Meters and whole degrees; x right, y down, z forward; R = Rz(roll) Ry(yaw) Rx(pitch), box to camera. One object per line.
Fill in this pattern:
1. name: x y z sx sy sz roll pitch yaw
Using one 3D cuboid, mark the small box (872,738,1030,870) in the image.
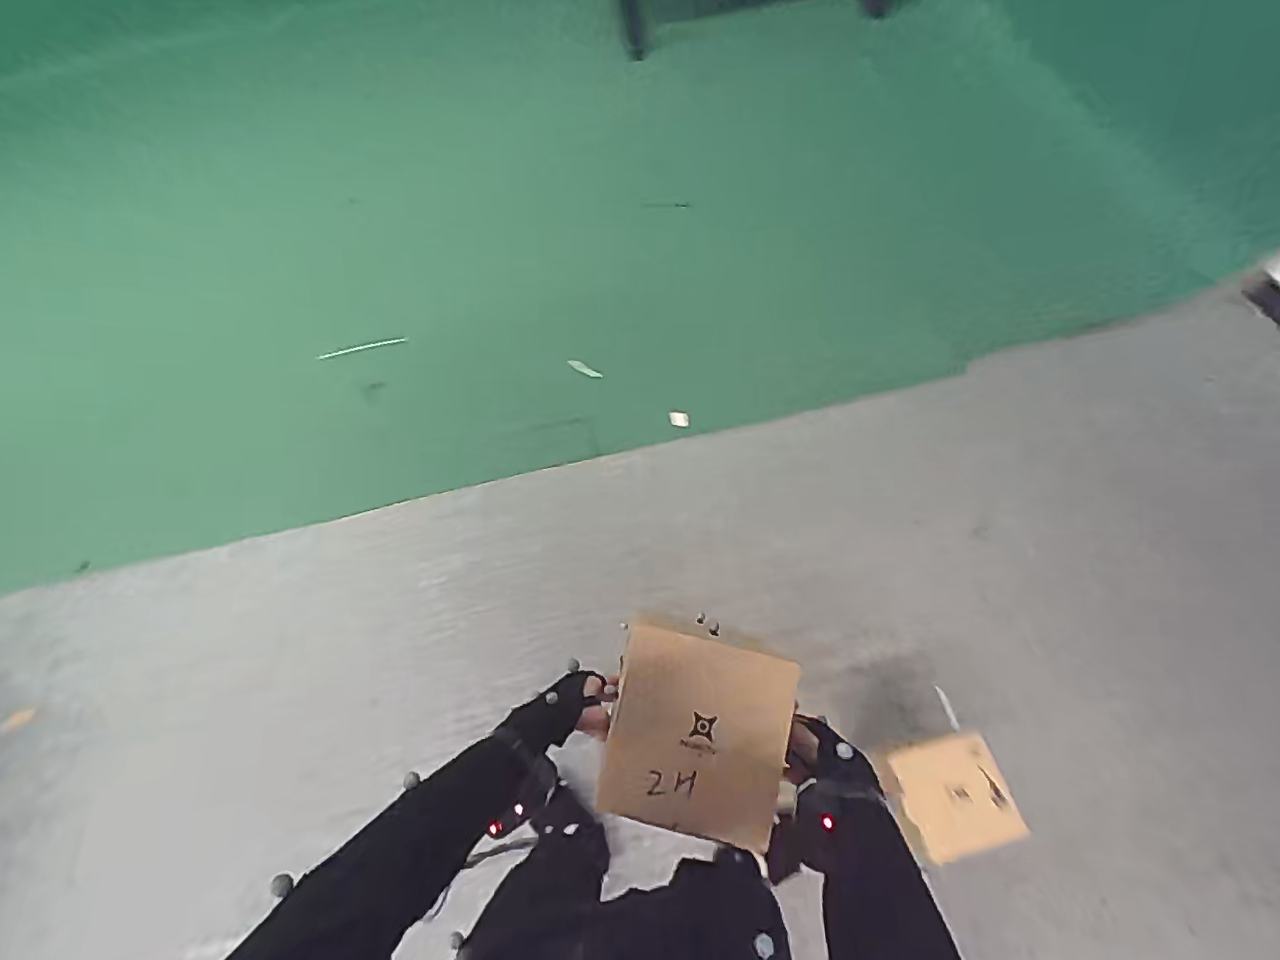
1. small box: 0.550 0.585 0.992 0.179 0.176 0.168 -14 64 -1
